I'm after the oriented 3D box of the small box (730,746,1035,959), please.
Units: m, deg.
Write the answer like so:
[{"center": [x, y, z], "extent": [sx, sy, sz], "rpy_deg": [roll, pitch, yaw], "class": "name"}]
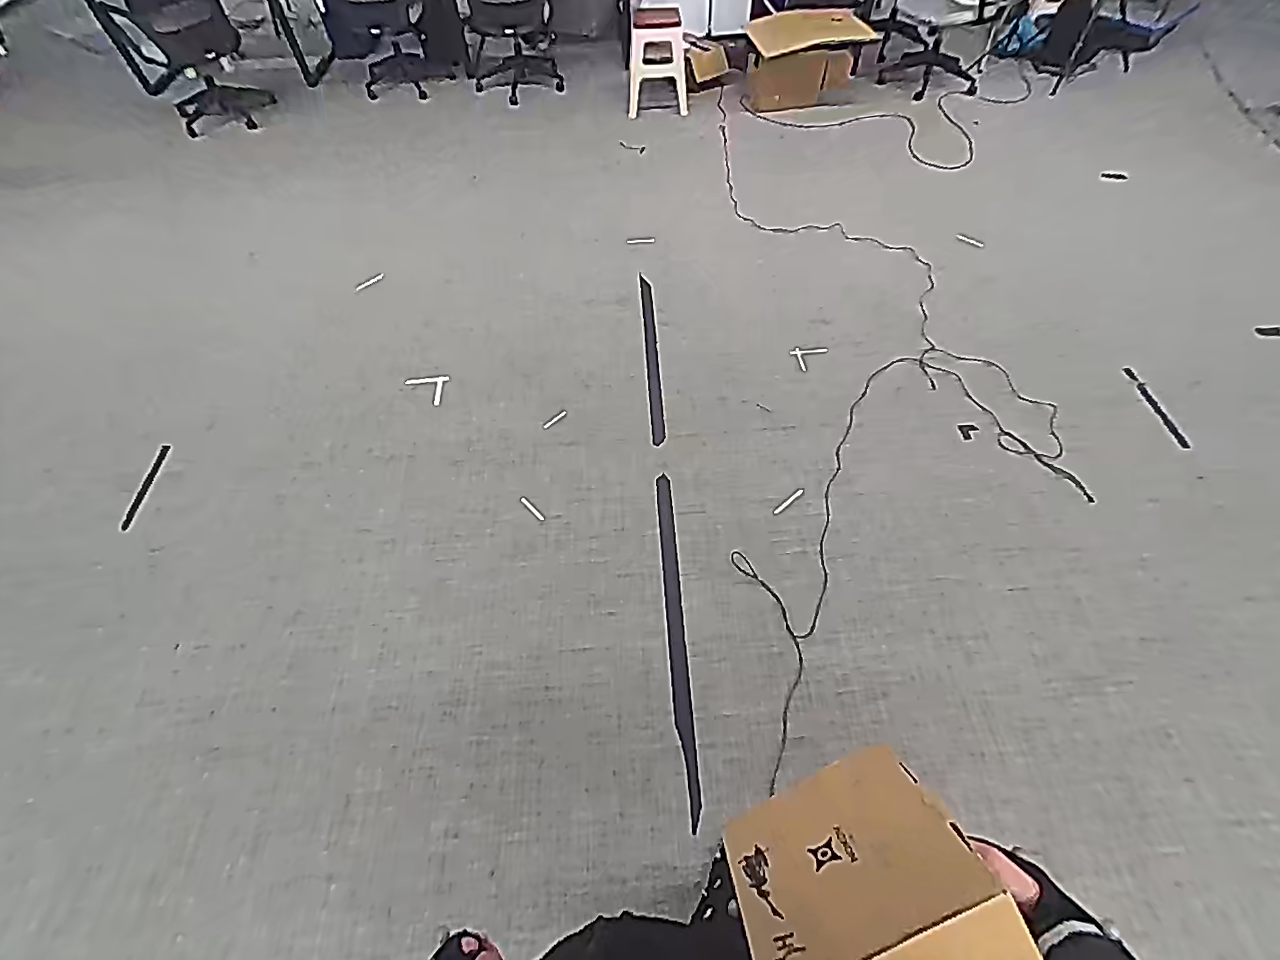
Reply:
[{"center": [0.200, 0.372, 0.447], "extent": [0.179, 0.168, 0.176], "rpy_deg": [-28, 94, 1], "class": "small box"}]
